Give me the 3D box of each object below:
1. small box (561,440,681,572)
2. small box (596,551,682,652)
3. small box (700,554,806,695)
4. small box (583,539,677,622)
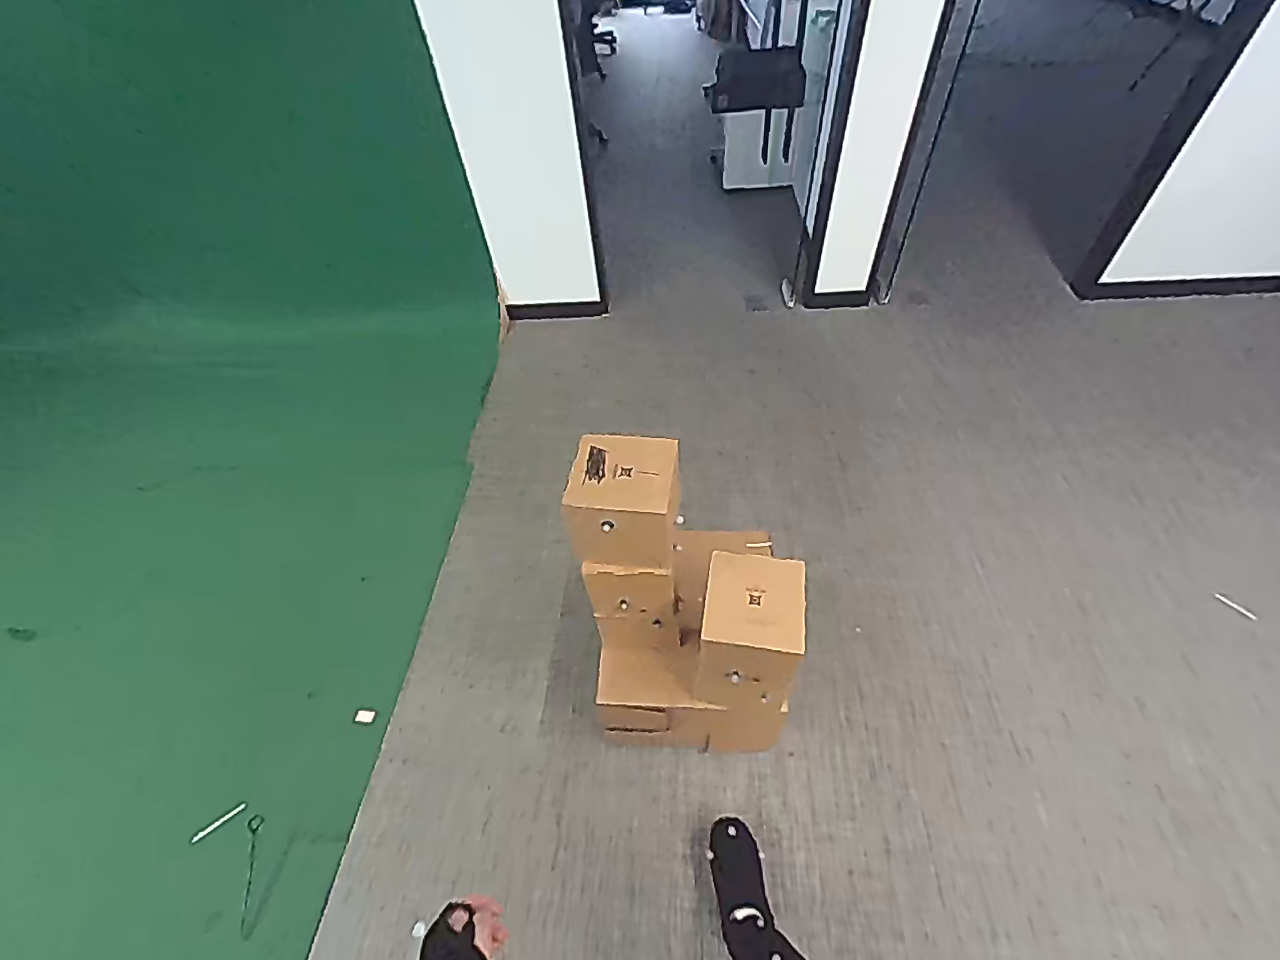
[{"bbox_3d":[-0.023,0.049,0.964,0.179,0.176,0.168,4,50,9],"label":"small box"},{"bbox_3d":[0.005,0.271,1.203,0.179,0.176,0.168,-1,47,5],"label":"small box"},{"bbox_3d":[0.200,0.261,0.973,0.168,0.176,0.179,6,50,11],"label":"small box"},{"bbox_3d":[-0.011,0.164,1.081,0.168,0.176,0.179,0,49,6],"label":"small box"}]
